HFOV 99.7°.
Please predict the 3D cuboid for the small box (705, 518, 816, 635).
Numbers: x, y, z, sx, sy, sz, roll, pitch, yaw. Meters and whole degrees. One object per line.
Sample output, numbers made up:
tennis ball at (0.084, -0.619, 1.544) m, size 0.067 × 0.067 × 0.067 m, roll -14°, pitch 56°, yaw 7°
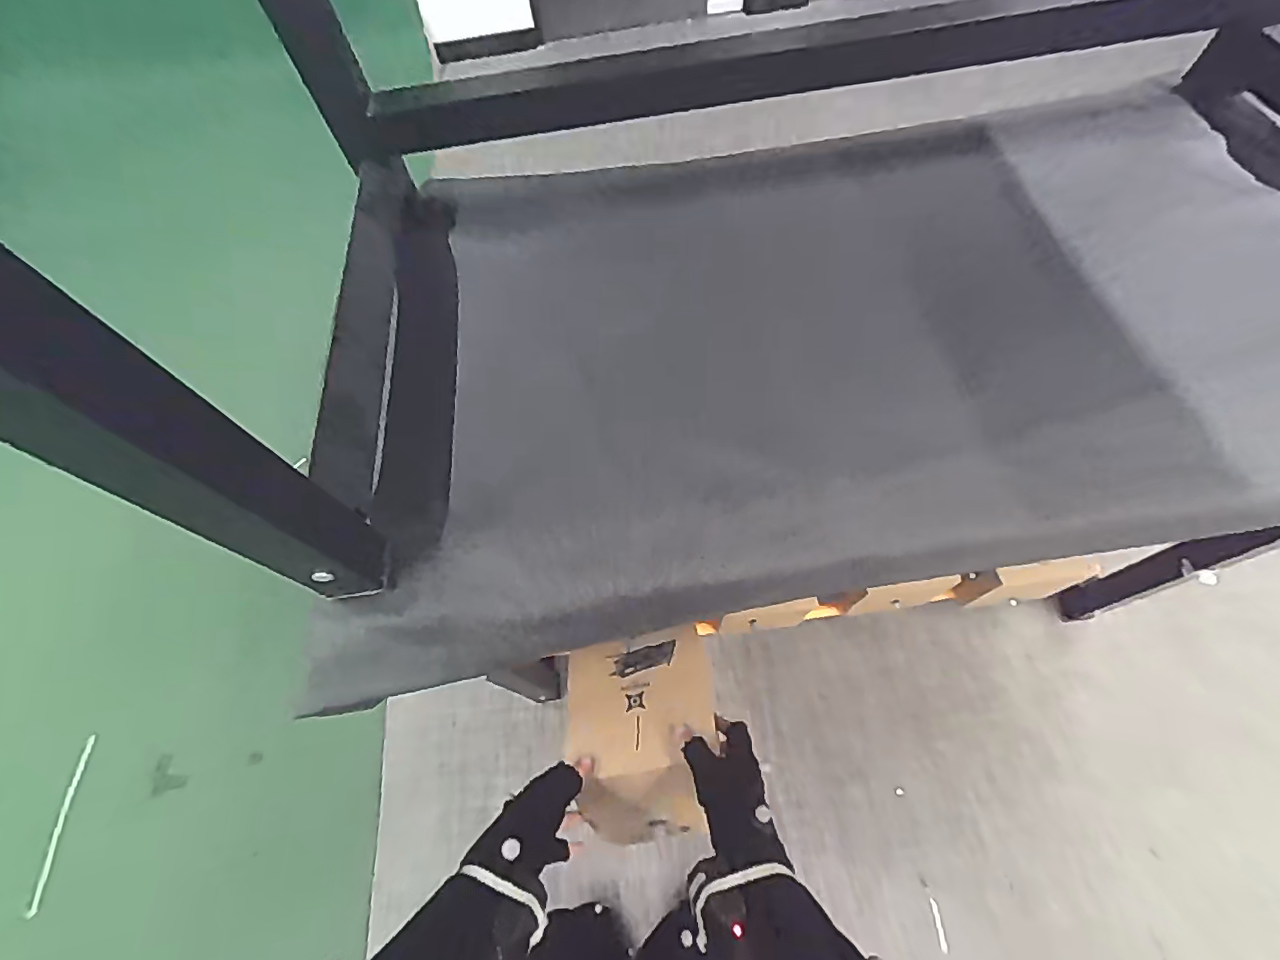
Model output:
small box at (0.220, 0.192, 1.031) m, size 0.168 × 0.176 × 0.179 m, roll -7°, pitch 62°, yaw 0°
